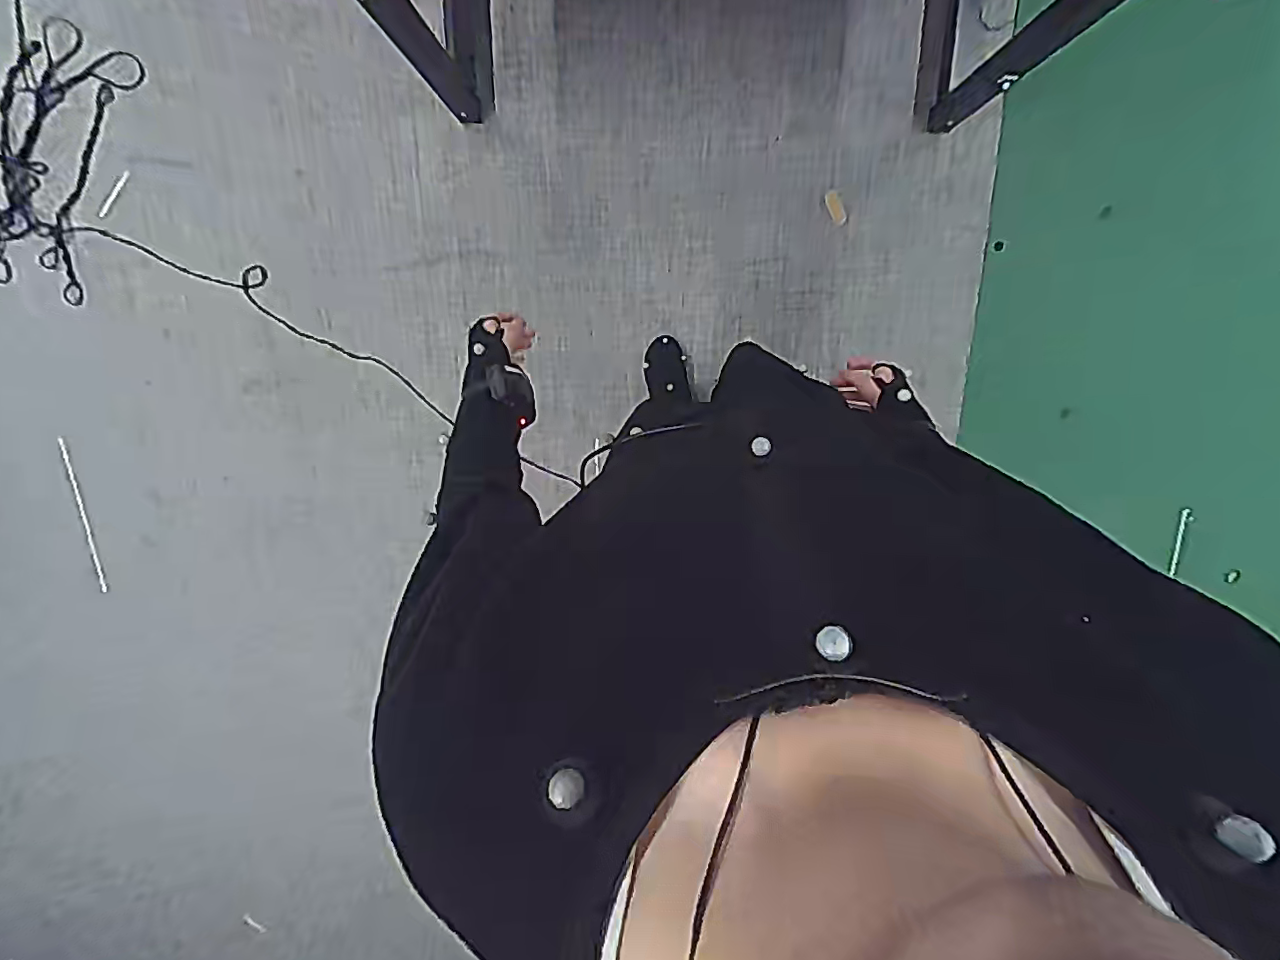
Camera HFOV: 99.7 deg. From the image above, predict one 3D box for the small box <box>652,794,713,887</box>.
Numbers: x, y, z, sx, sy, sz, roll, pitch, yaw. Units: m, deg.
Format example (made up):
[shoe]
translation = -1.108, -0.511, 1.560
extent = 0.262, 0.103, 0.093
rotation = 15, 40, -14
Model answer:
[small box]
translation = 0.127, 1.116, 1.684
extent = 0.168, 0.176, 0.179
rotation = 5, 103, 1
